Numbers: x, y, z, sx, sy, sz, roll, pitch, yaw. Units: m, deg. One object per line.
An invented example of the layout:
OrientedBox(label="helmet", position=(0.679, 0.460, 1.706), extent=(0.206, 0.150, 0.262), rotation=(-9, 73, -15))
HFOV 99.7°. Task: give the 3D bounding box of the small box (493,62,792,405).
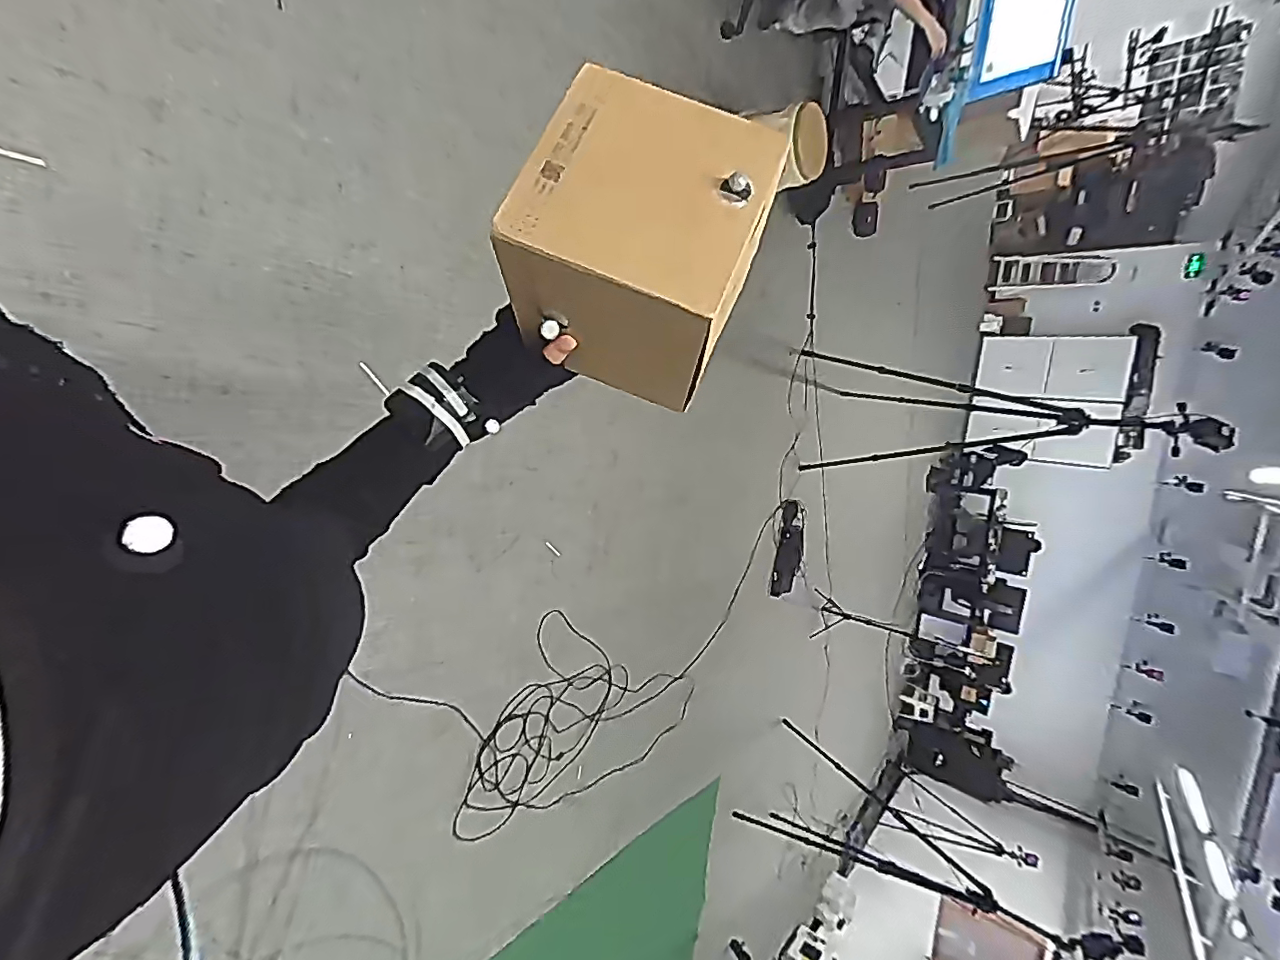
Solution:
OrientedBox(label="small box", position=(-0.002, -0.194, 0.458), extent=(0.179, 0.176, 0.168), rotation=(105, 8, -76))
